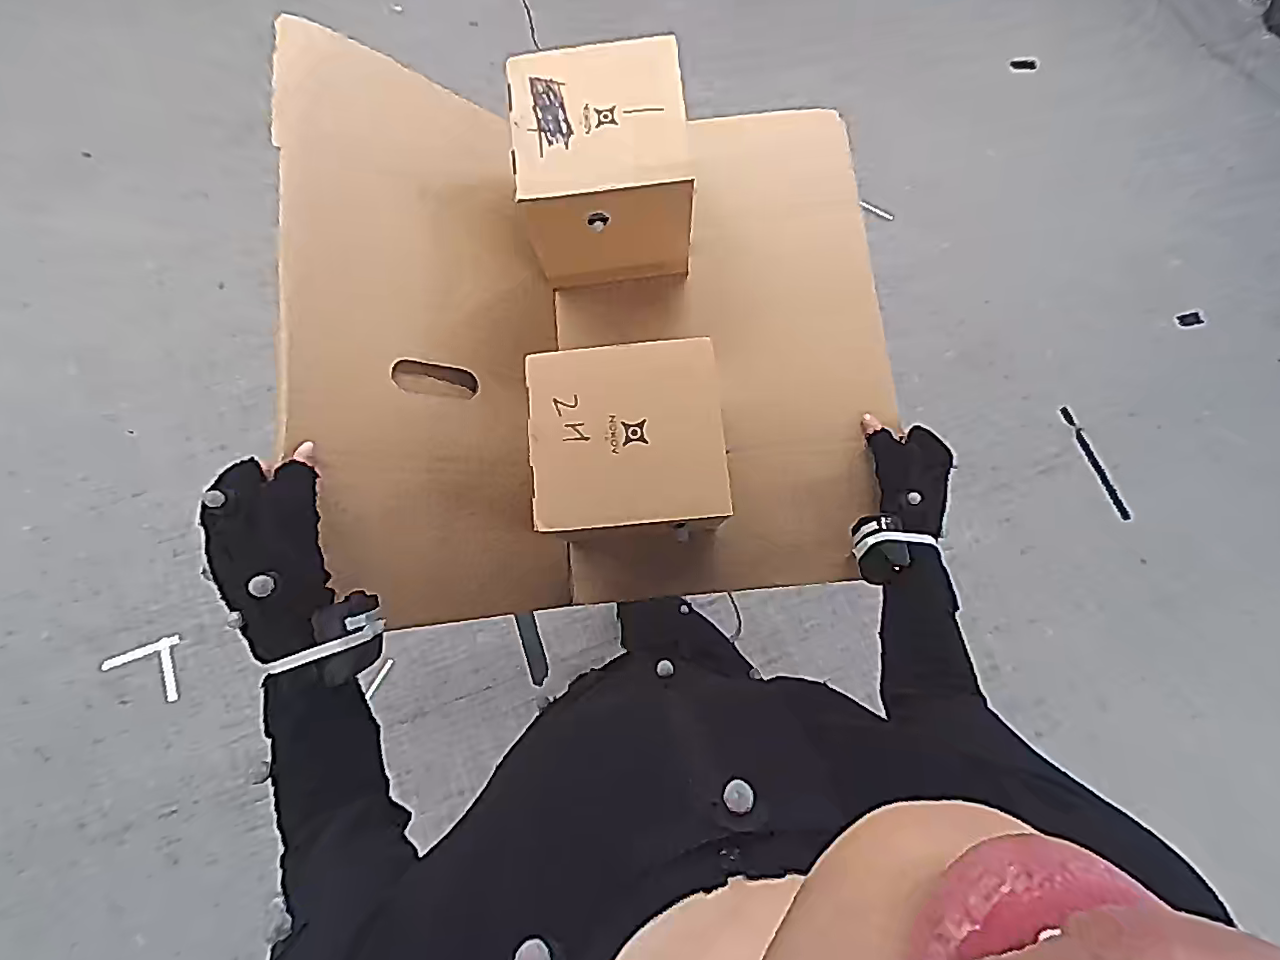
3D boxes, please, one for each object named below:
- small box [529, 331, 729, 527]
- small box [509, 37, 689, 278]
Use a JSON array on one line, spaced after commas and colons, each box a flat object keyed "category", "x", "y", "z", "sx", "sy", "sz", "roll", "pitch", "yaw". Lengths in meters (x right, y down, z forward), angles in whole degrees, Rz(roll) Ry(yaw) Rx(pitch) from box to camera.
[{"category": "small box", "x": -0.009, "y": -0.041, "z": 0.572, "sx": 0.179, "sy": 0.176, "sz": 0.168, "roll": -5, "pitch": 81, "yaw": 3}, {"category": "small box", "x": -0.039, "y": -0.354, "z": 0.624, "sx": 0.179, "sy": 0.176, "sz": 0.168, "roll": -6, "pitch": 81, "yaw": 2}]
